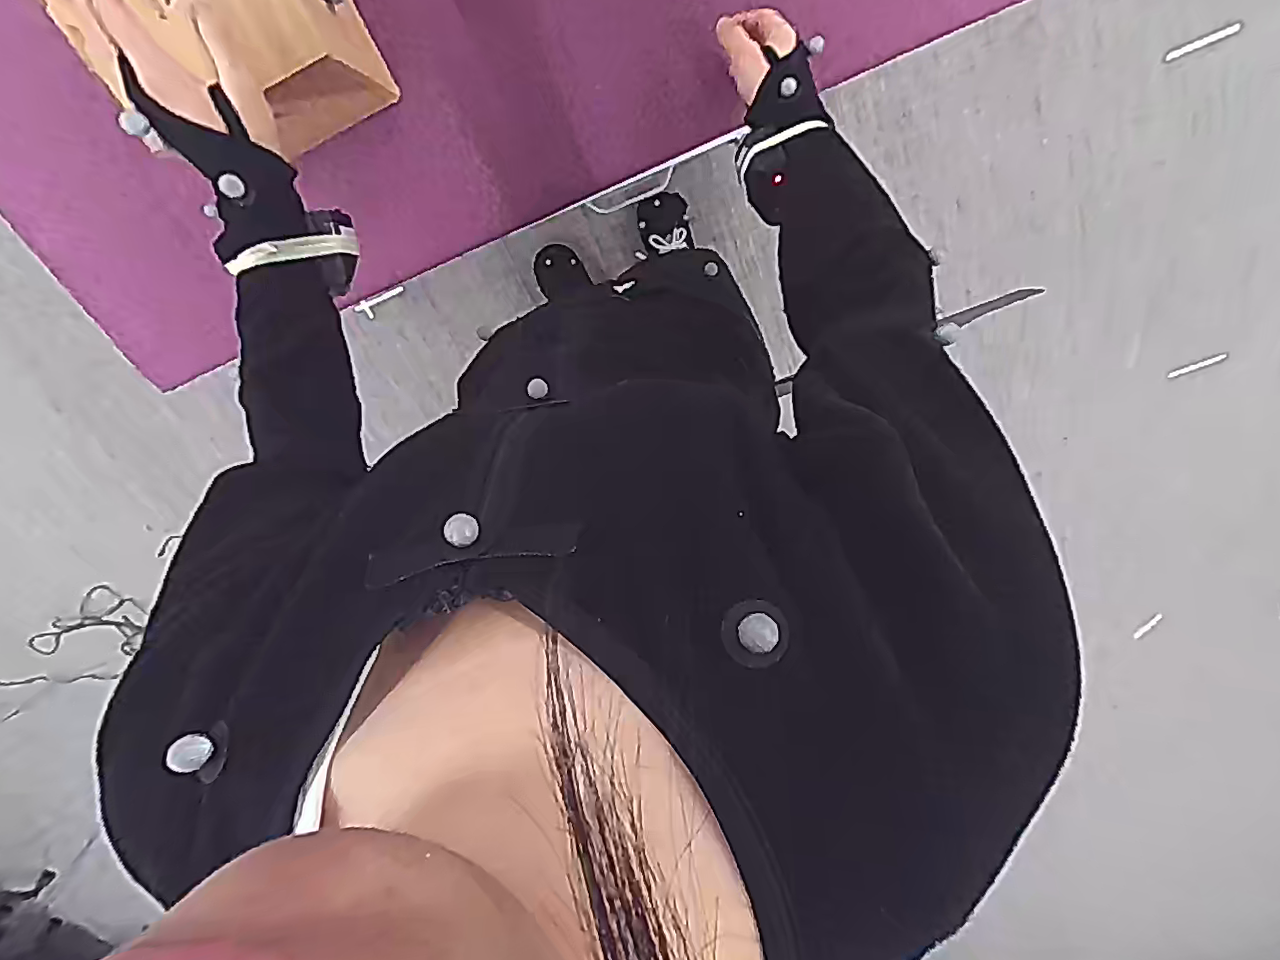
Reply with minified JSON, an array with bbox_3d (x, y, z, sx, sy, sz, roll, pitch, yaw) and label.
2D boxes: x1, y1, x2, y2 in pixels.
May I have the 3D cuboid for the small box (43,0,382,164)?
[{"bbox_3d":[-0.357,-0.402,0.472,0.179,0.176,0.168,-22,115,8],"label":"small box"}]
